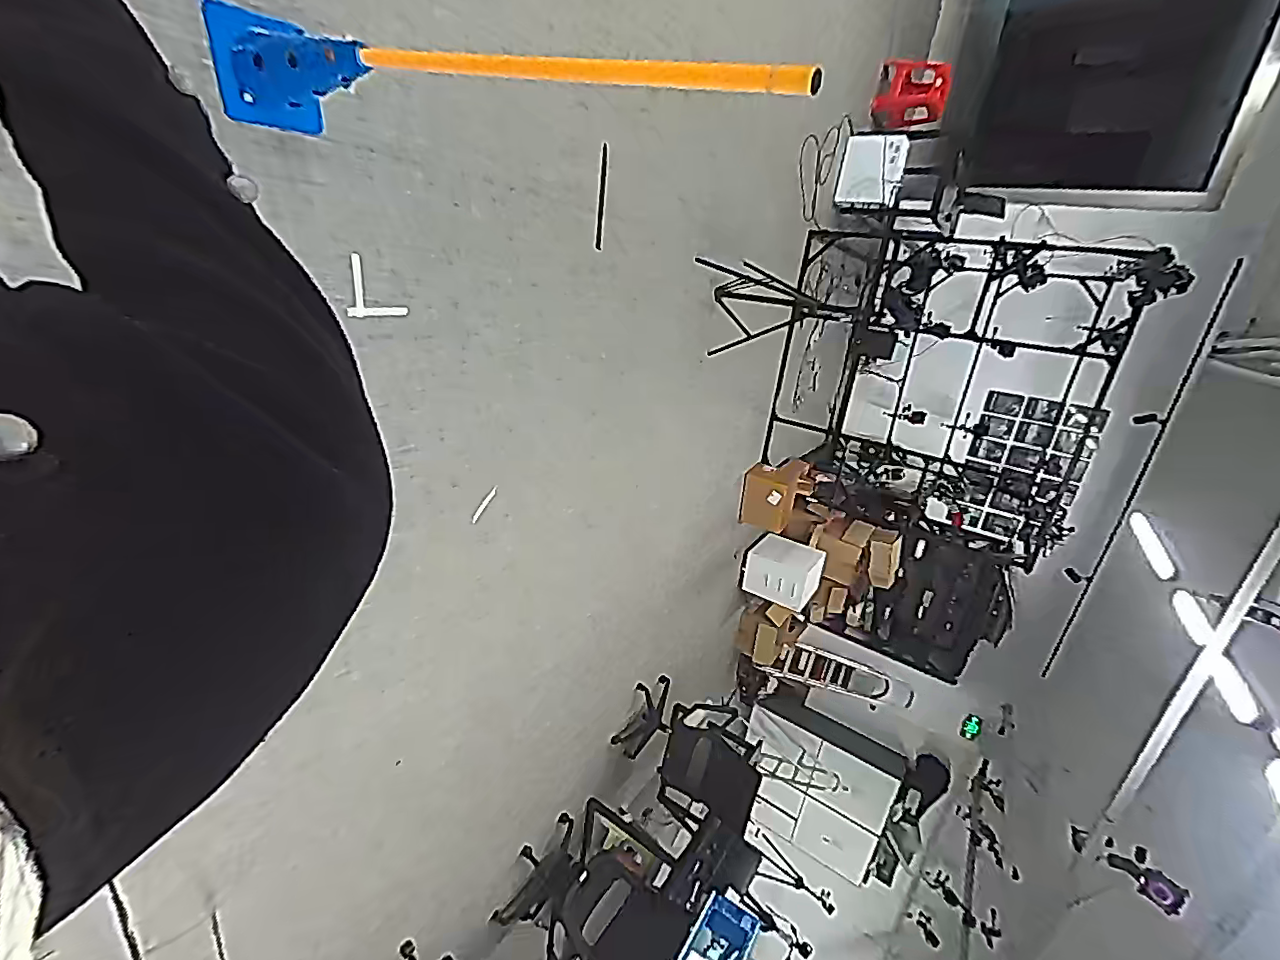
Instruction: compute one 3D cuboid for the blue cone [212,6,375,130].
[{"bbox_3d":[-0.640,-0.814,1.058,0.193,0.380,0.192,-27,128,-51],"label":"blue cone"}]
